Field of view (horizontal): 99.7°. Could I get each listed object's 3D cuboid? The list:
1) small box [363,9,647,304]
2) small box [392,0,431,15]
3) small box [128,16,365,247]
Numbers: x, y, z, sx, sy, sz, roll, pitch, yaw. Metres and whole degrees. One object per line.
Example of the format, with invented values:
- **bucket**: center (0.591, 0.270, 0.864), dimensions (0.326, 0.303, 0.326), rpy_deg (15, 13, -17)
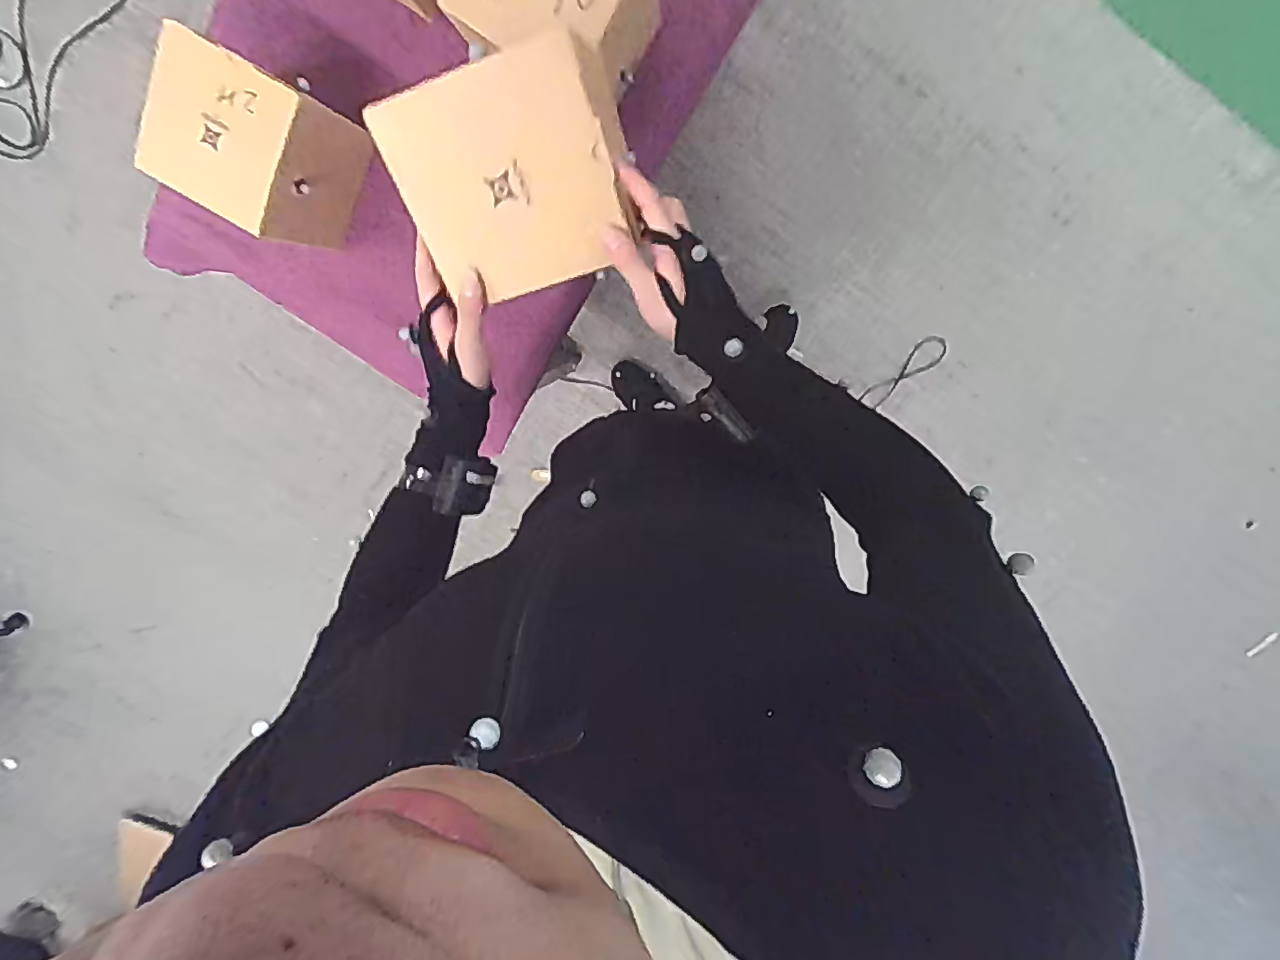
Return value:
- **small box**: center (-0.100, -0.281, 0.494), dimensions (0.179, 0.176, 0.168), rpy_deg (-13, 121, 12)
- **small box**: center (-0.316, -0.697, 0.608), dimensions (0.168, 0.176, 0.179), rpy_deg (32, 108, -5)
- **small box**: center (-0.496, -0.428, 0.705), dimensions (0.168, 0.176, 0.179), rpy_deg (30, 108, -5)
